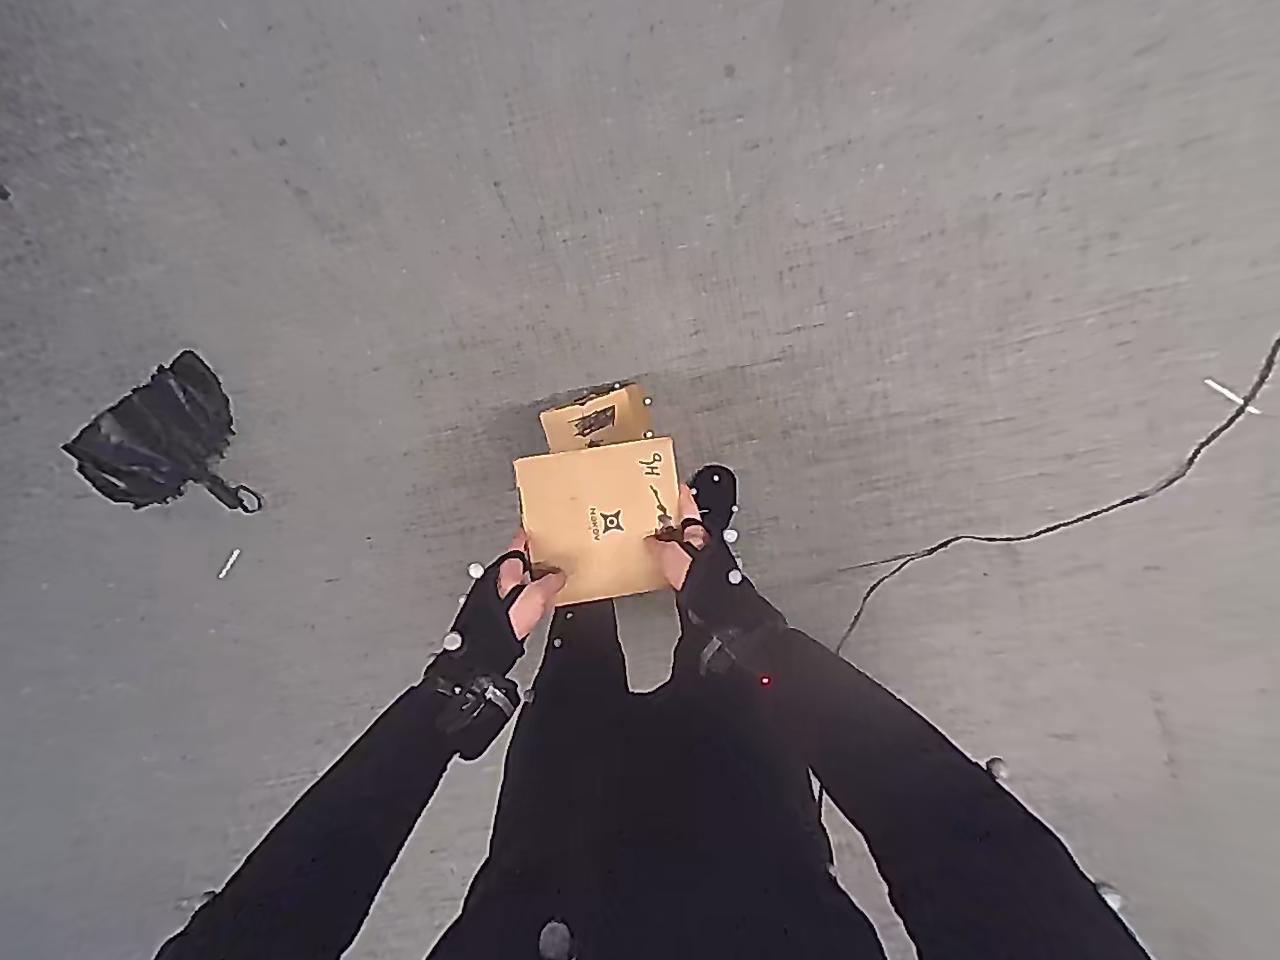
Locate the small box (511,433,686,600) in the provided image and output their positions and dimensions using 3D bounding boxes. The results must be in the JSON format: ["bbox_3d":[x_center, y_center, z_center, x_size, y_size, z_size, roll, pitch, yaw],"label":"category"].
[{"bbox_3d":[-0.047,0.042,0.678,0.179,0.176,0.168,-10,90,-2],"label":"small box"}]

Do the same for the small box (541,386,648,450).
[{"bbox_3d":[-0.074,-0.077,1.055,0.168,0.176,0.179,-16,100,8],"label":"small box"}]

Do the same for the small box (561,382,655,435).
[{"bbox_3d":[-0.061,-0.116,1.214,0.168,0.176,0.179,-16,101,8],"label":"small box"}]
